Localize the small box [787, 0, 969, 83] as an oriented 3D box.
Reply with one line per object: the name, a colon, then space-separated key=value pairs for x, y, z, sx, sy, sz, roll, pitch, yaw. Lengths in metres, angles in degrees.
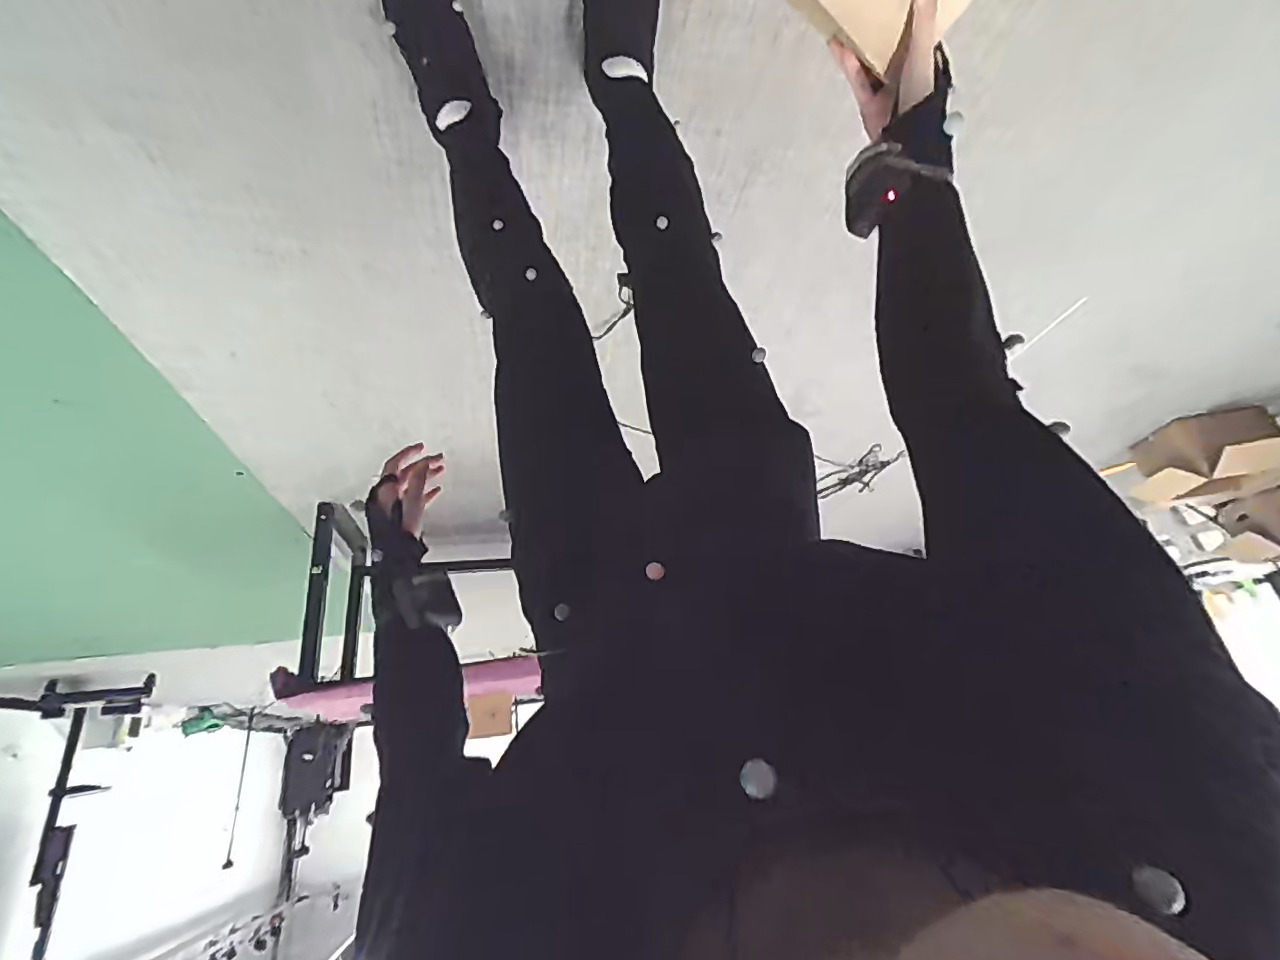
small box: x=0.195 y=-0.483 z=0.432 sx=0.168 sy=0.176 sz=0.179 roll=2 pitch=141 yaw=-42

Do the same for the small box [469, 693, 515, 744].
small box: x=-0.616 y=0.993 z=2.251 sx=0.179 sy=0.176 sz=0.168 roll=-3 pitch=152 yaw=-15
